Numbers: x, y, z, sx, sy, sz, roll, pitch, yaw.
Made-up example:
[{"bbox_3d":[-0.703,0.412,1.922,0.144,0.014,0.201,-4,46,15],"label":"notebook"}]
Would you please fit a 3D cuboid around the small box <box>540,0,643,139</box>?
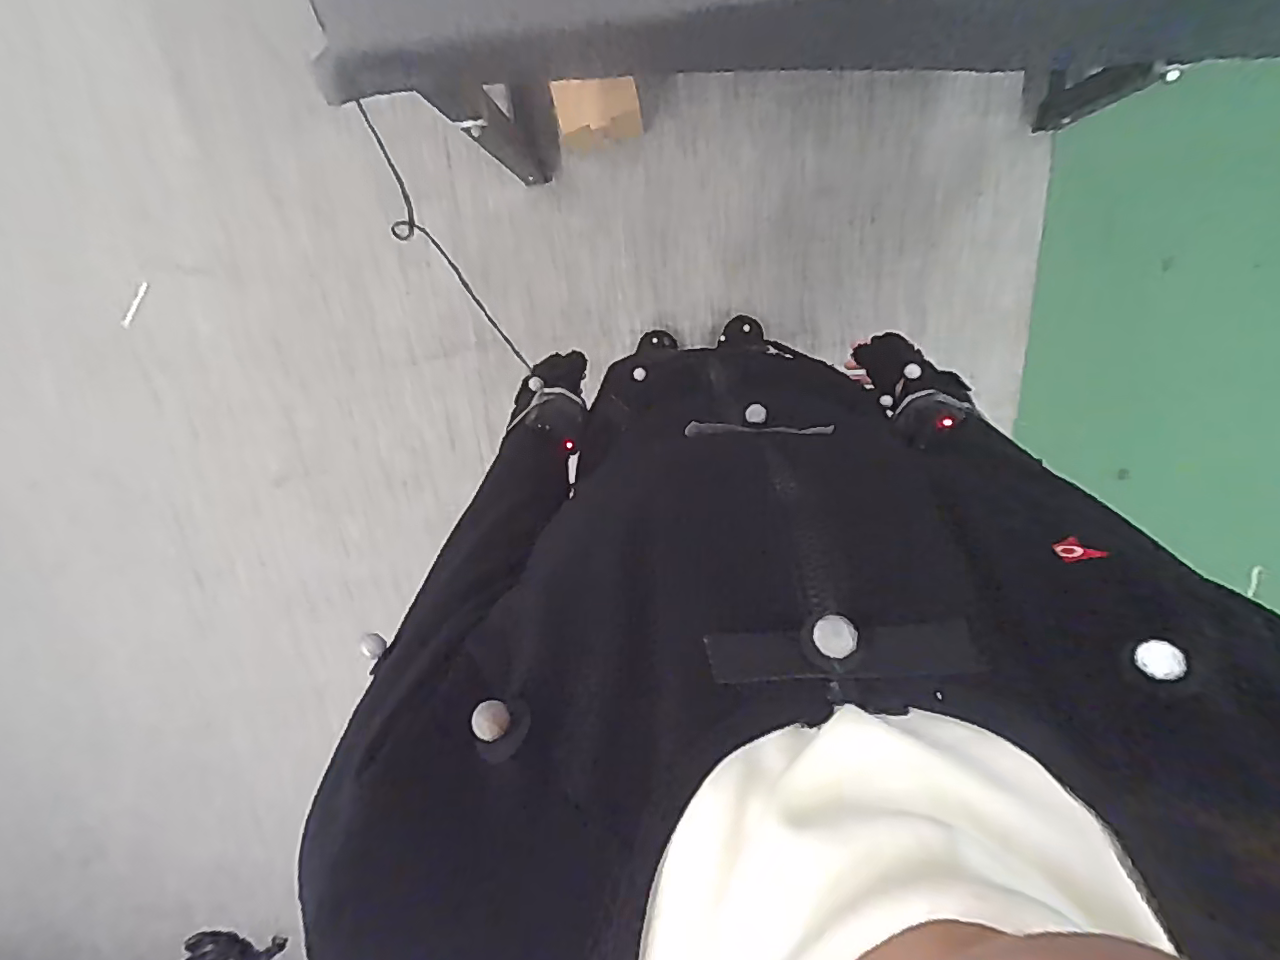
[{"bbox_3d":[-0.091,-0.835,1.122,0.168,0.176,0.179,-12,108,7],"label":"small box"}]
